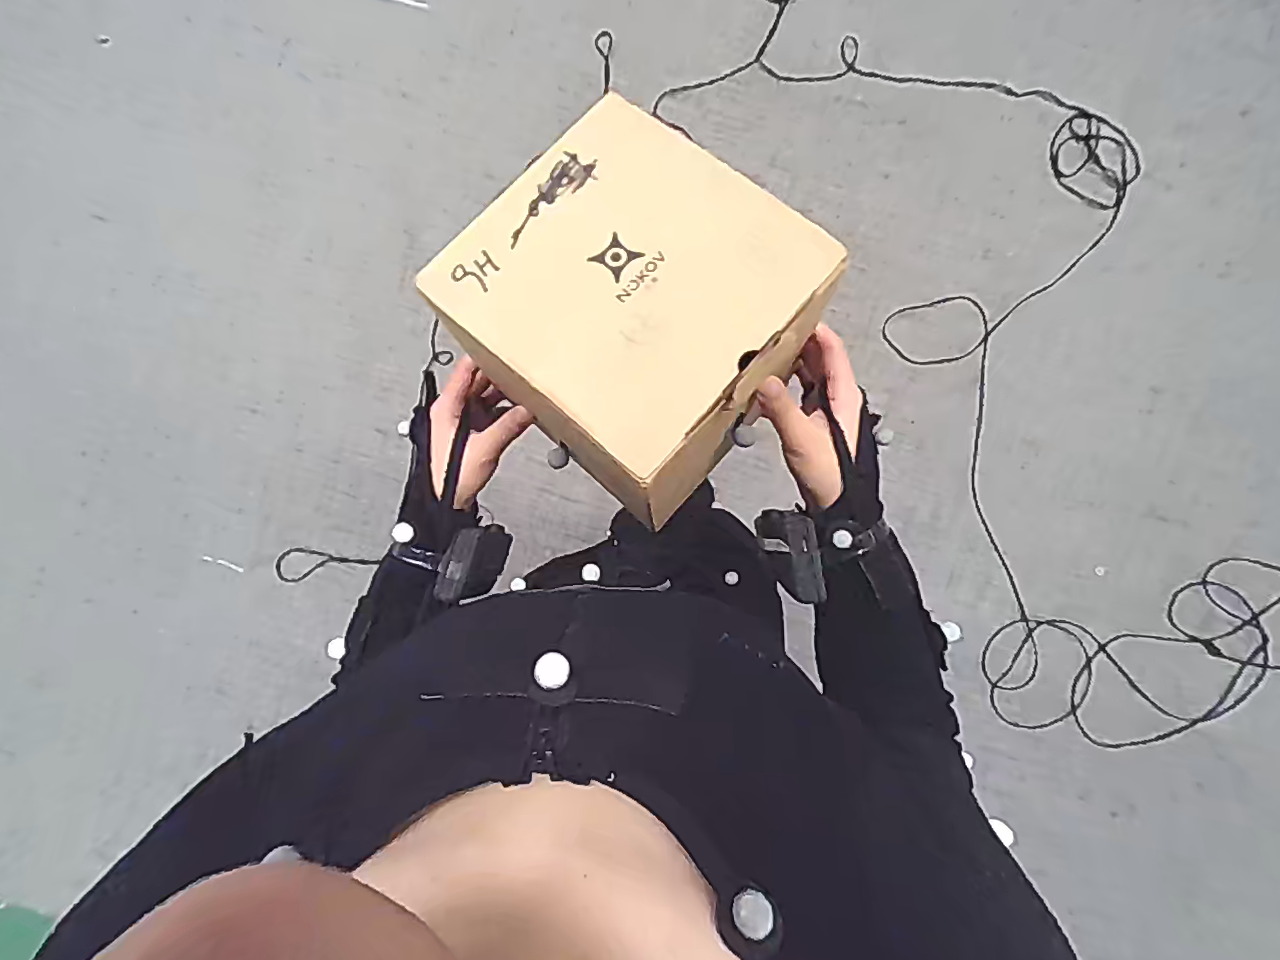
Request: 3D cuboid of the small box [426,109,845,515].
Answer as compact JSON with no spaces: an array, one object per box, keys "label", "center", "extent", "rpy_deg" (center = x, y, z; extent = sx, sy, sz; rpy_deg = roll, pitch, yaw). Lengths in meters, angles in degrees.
[{"label":"small box","center":[0.000,-0.091,0.375],"extent":[0.179,0.176,0.168],"rpy_deg":[42,82,11]}]
